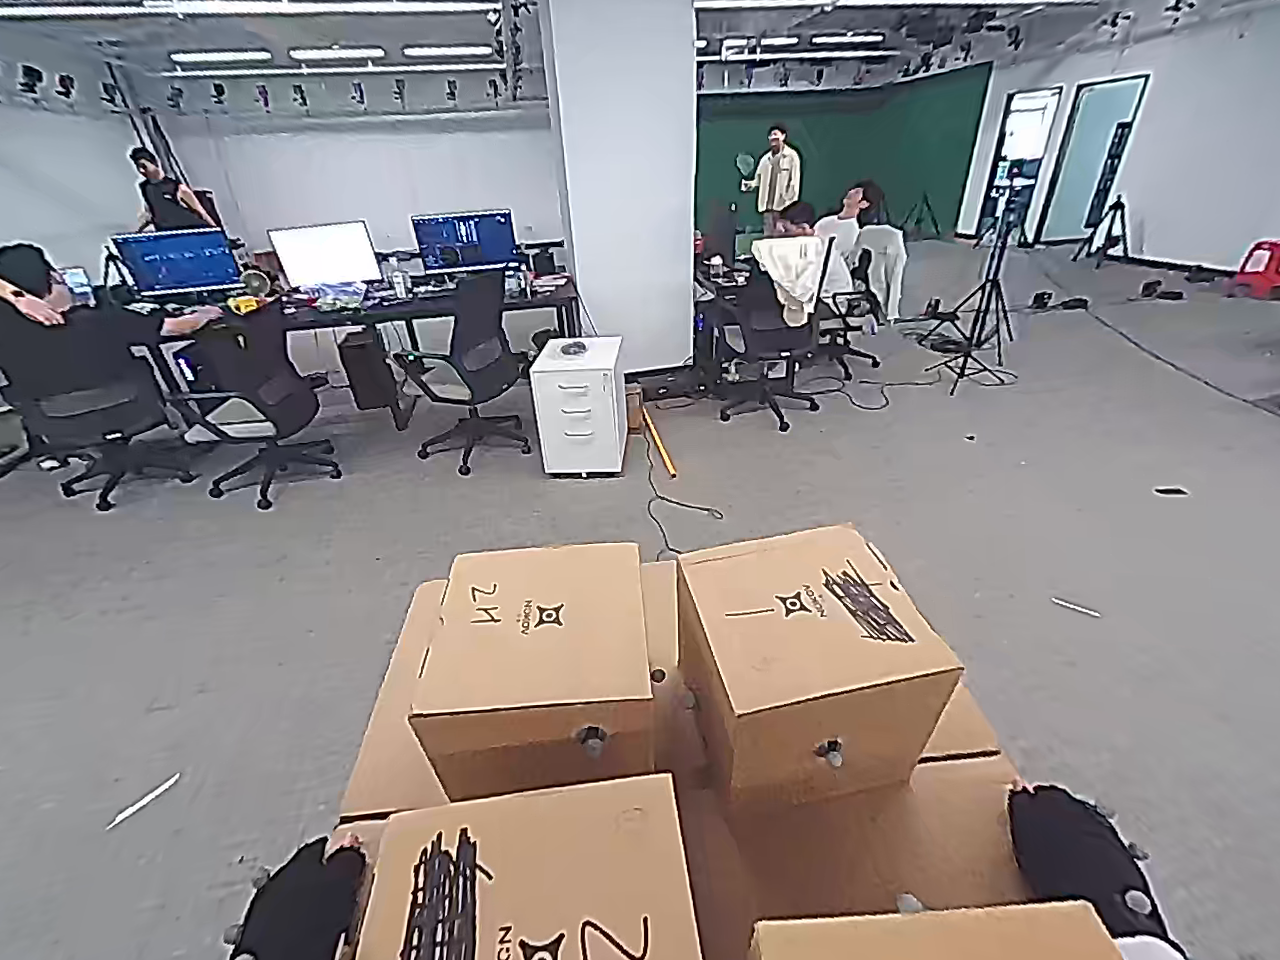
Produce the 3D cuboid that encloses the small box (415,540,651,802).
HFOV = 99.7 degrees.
[{"bbox_3d":[-0.081,0.177,0.510,0.179,0.176,0.168,-5,36,-1],"label":"small box"}]
